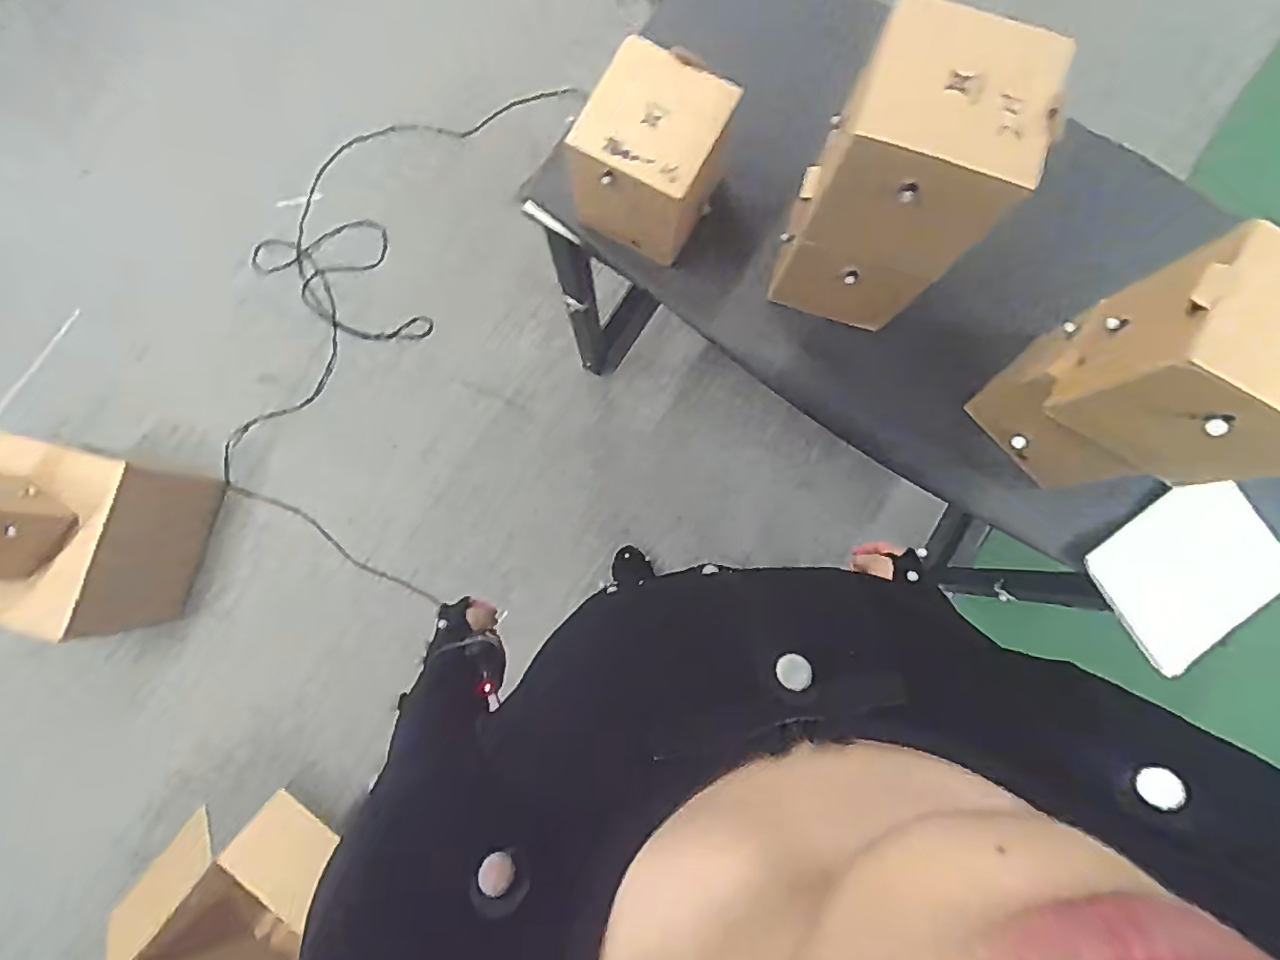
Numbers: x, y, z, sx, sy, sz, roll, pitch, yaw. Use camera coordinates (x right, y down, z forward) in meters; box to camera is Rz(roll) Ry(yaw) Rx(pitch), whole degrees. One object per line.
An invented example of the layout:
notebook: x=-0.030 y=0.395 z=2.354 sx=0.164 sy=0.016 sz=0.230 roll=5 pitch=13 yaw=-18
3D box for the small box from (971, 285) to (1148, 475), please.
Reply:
small box: x=0.596 y=-0.128 z=0.718 sx=0.179 sy=0.176 sz=0.168 roll=-41 pitch=84 yaw=-5

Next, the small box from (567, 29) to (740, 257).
small box: x=0.015 y=-0.459 z=0.761 sx=0.168 sy=0.176 sz=0.179 roll=28 pitch=83 yaw=3

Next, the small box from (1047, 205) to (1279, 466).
small box: x=0.585 y=-0.128 z=0.554 sx=0.179 sy=0.176 sz=0.168 roll=32 pitch=83 yaw=5

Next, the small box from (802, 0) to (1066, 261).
small box: x=0.297 y=-0.368 z=0.586 sx=0.179 sy=0.176 sz=0.168 roll=20 pitch=83 yaw=2

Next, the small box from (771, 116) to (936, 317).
small box: x=0.298 y=-0.349 z=0.750 sx=0.179 sy=0.176 sz=0.168 roll=17 pitch=84 yaw=1
